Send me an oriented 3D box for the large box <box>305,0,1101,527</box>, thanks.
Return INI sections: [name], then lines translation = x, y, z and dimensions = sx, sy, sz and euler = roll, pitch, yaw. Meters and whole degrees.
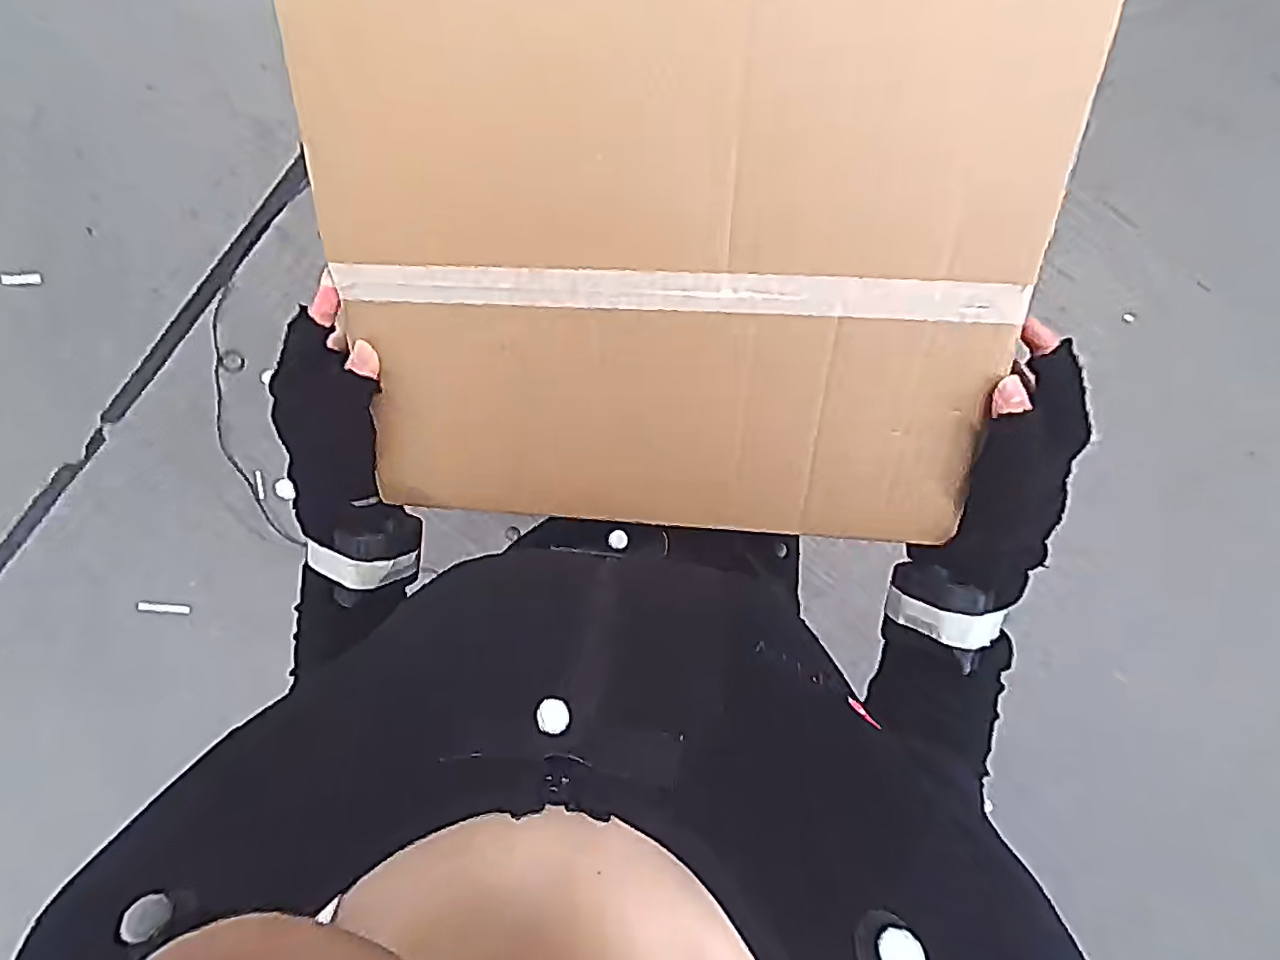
[large box]
translation = 0.031, -0.177, 0.461
dimensions = 0.408, 0.320, 0.320
euler = 4, 116, 5
